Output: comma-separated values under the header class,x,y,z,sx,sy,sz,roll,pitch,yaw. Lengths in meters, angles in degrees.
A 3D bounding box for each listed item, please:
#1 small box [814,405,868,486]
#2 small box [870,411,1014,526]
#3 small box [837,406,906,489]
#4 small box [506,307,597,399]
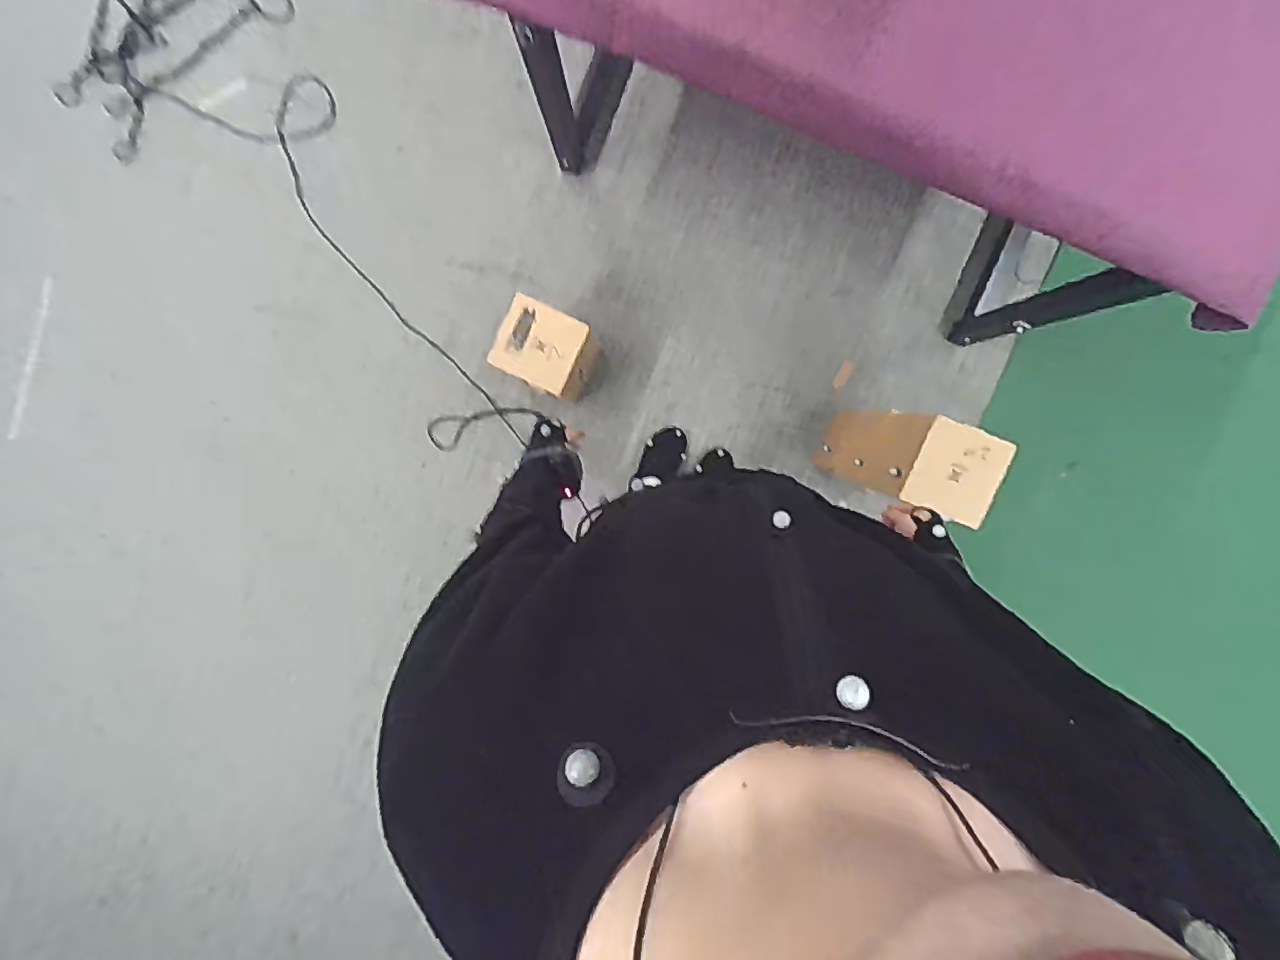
class,x,y,z,sx,sy,sz,roll,pitch,yaw
small box,0.582,-0.083,1.413,0.179,0.176,0.168,23,96,-2
small box,0.593,-0.030,1.091,0.168,0.176,0.179,21,97,-2
small box,0.585,-0.063,1.253,0.168,0.176,0.179,21,97,-2
small box,-0.220,-0.318,1.398,0.168,0.176,0.179,26,96,-2
